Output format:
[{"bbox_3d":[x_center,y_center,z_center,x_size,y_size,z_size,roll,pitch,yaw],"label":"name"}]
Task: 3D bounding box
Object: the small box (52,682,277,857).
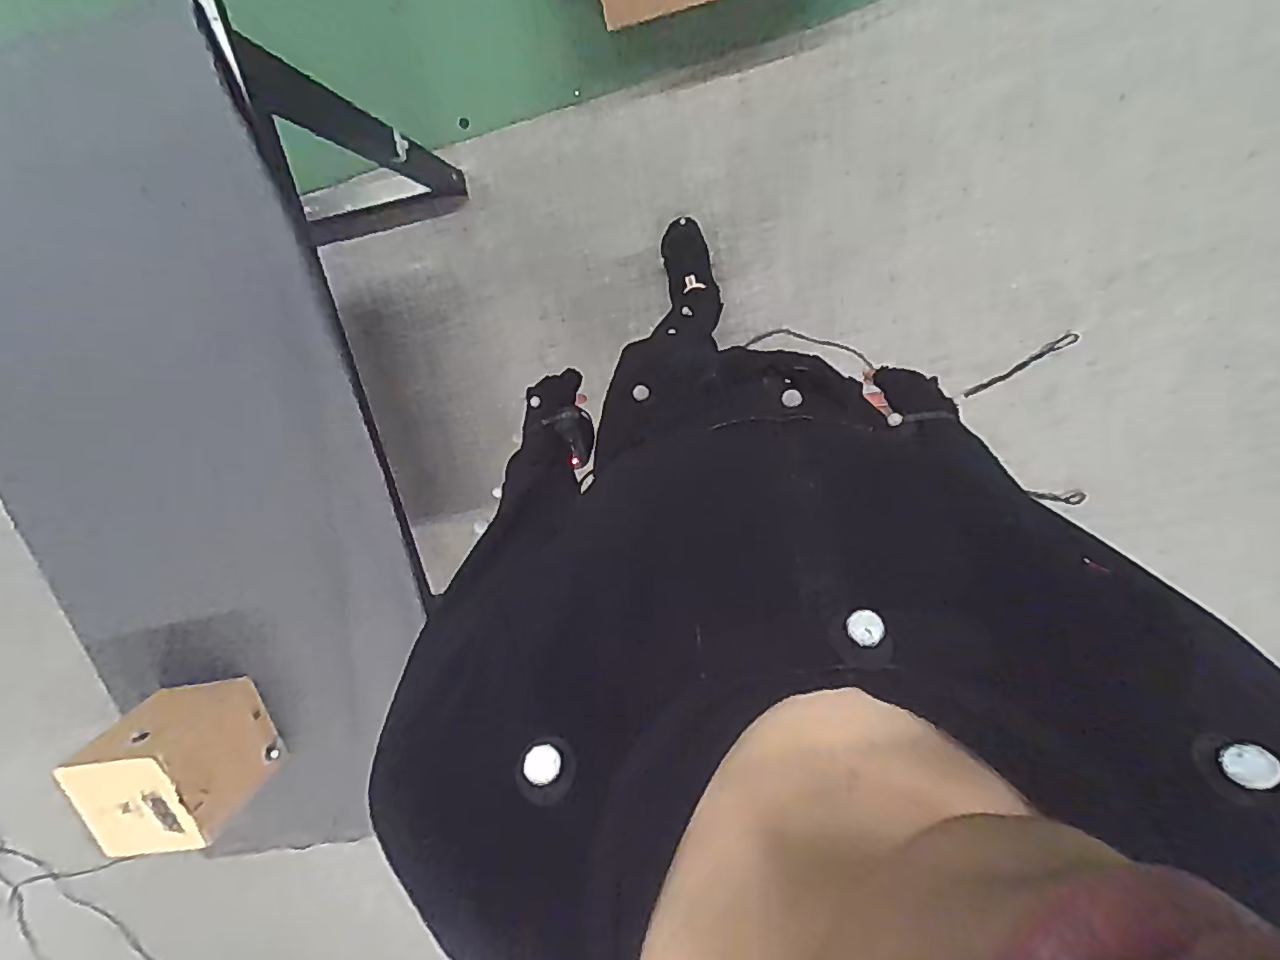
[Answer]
[{"bbox_3d":[-0.703,0.434,0.831,0.179,0.176,0.168,-11,106,8],"label":"small box"}]
